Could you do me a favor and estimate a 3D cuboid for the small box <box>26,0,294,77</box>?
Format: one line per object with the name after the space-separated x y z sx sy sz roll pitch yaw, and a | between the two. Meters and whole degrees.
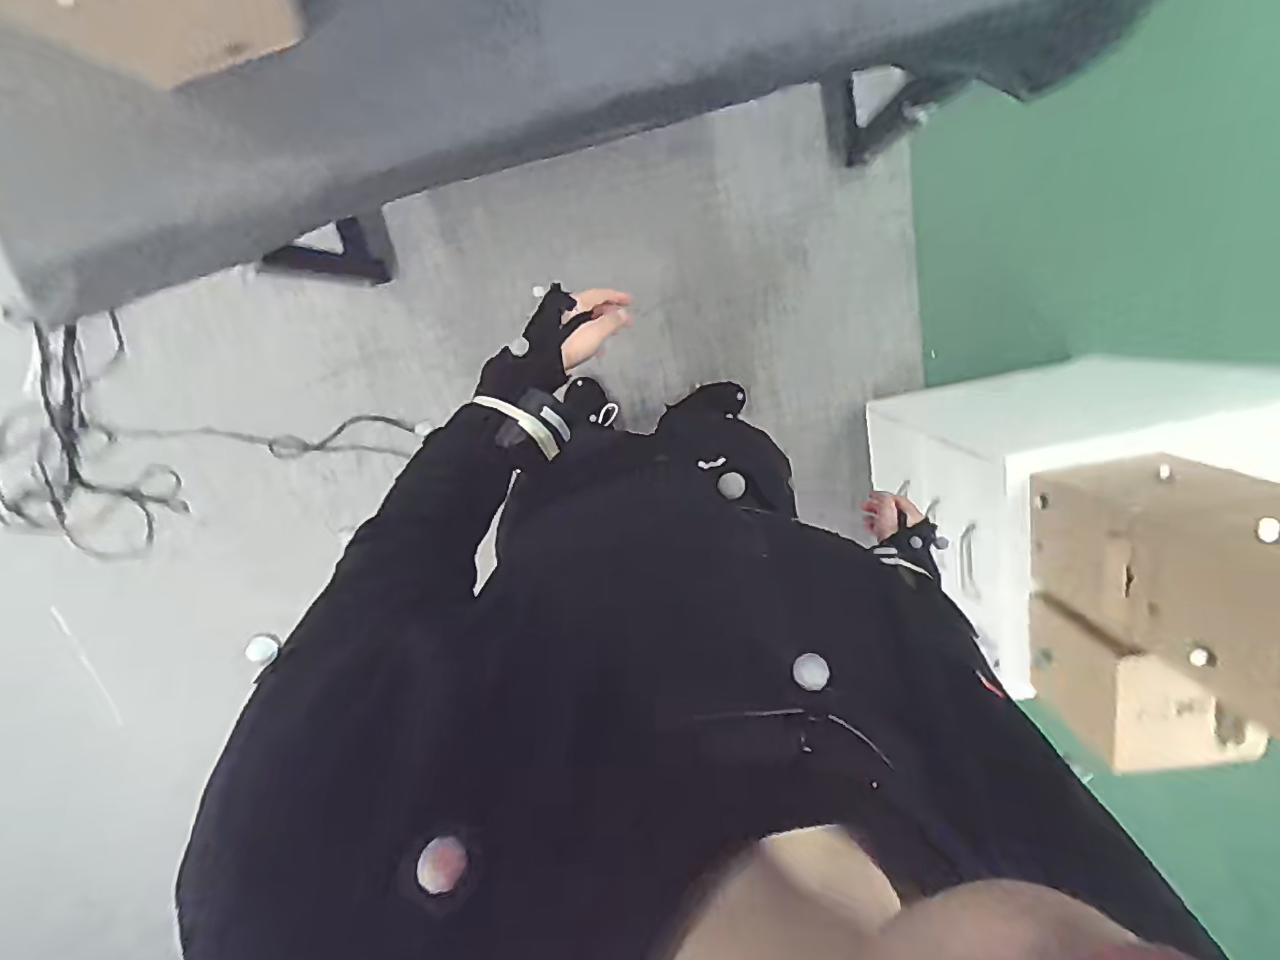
-0.426 -0.472 0.428 0.168 0.176 0.179 -12 104 5 | small box

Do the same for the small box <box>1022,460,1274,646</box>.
0.618 0.082 0.681 0.179 0.176 0.168 -10 106 4 | small box

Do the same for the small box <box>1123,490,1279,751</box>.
0.622 0.123 0.524 0.179 0.176 0.168 -13 107 4 | small box
